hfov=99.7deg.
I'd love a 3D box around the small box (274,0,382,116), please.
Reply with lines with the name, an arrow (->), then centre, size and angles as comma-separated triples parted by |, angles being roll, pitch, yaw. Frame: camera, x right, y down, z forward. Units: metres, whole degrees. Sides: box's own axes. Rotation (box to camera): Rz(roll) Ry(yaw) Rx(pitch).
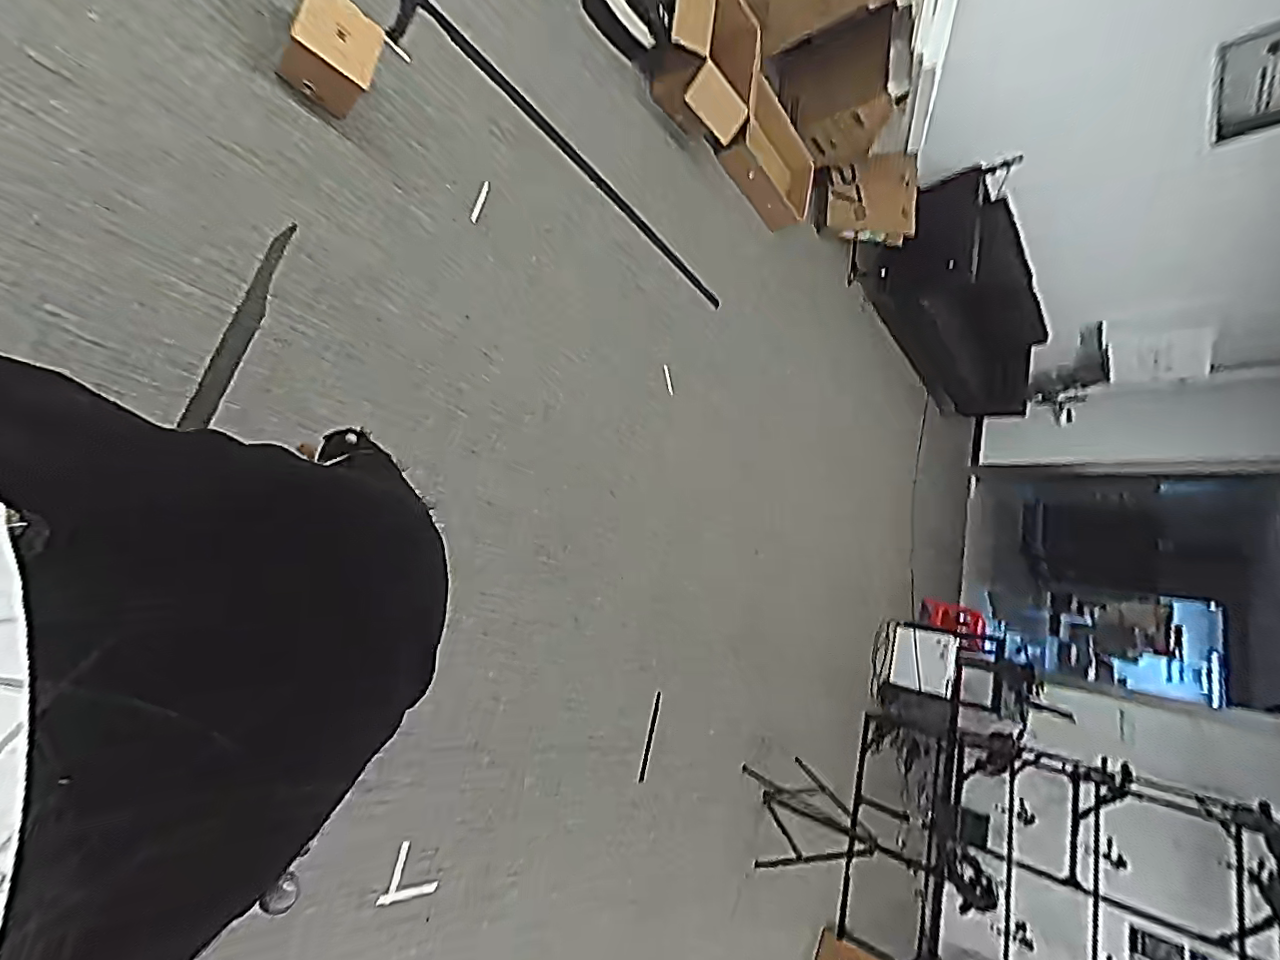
small box -> -0.757, -1.039, 1.307 | 0.168, 0.176, 0.179 | 19, 78, -44
